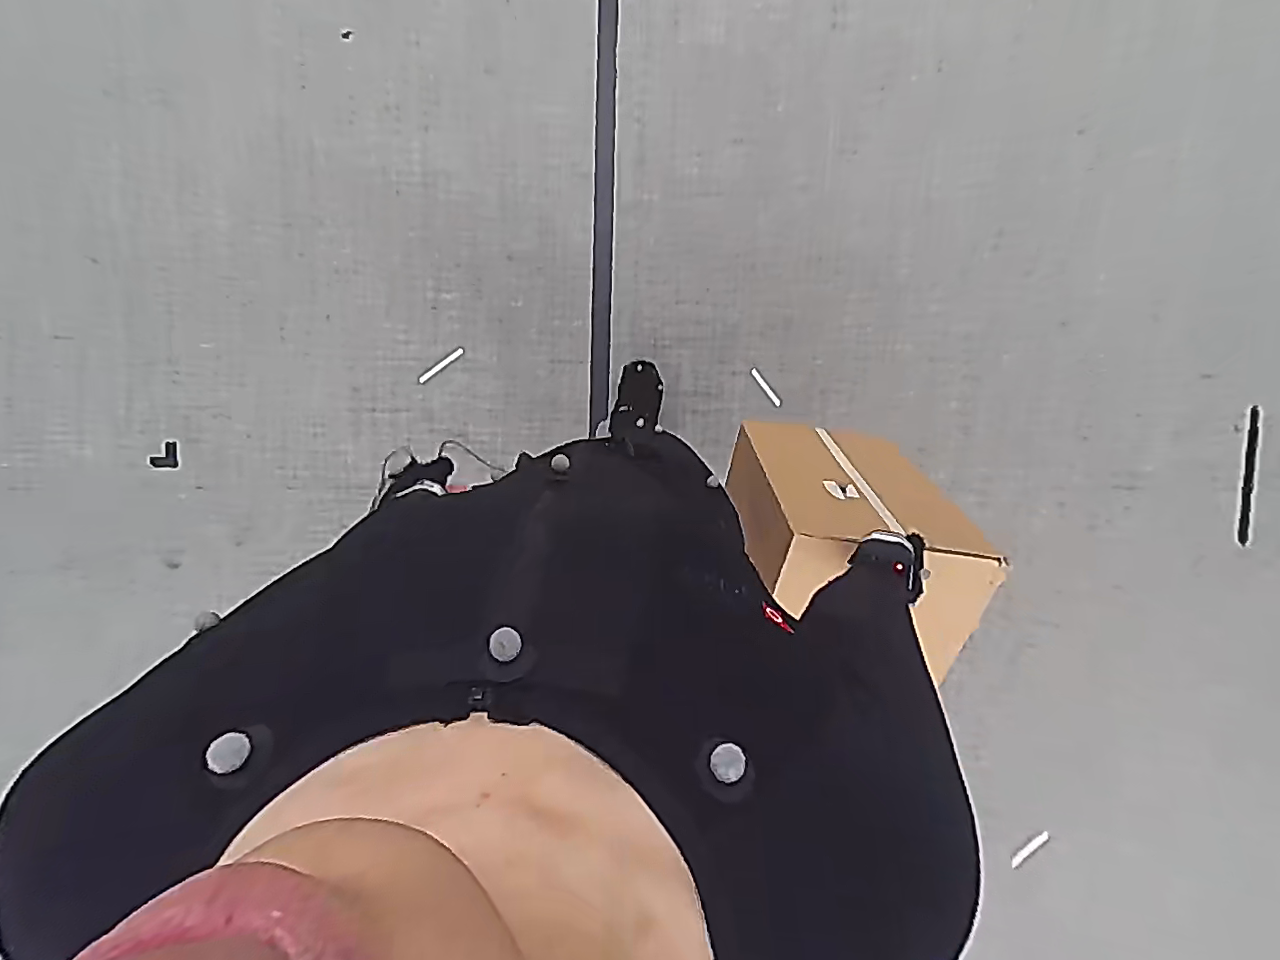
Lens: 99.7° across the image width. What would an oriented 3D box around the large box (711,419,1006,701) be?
[{"bbox_3d":[0.336,0.124,0.984,0.320,0.408,0.320,7,119,-5],"label":"large box"}]
